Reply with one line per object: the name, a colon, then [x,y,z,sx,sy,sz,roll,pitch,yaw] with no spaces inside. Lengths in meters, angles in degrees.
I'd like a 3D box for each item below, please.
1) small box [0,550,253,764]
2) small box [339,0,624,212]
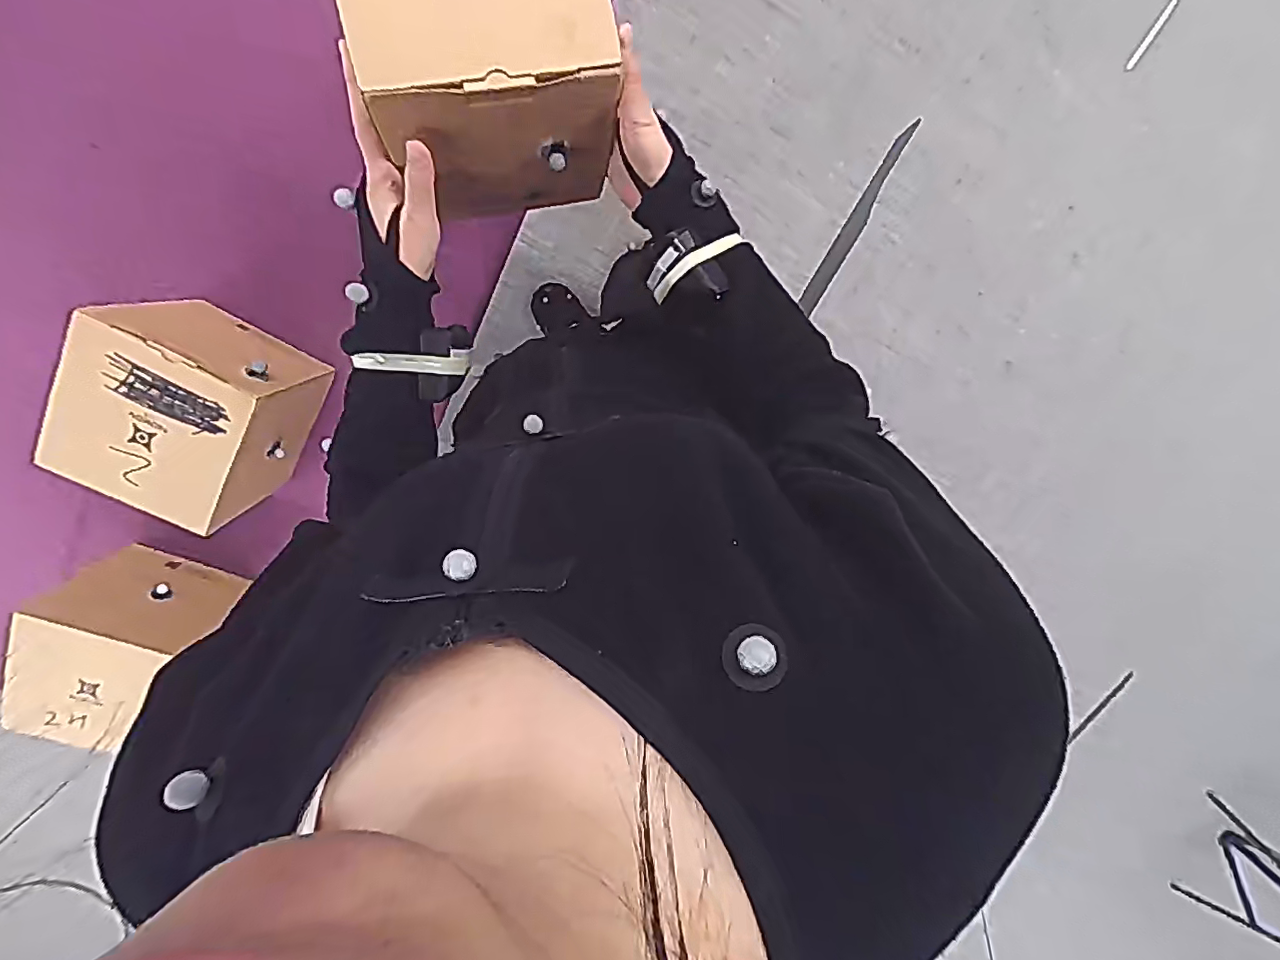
small box: [-0.642,0.217,0.696,0.168,0.176,0.179,23,107,-11]
small box: [-0.118,-0.326,0.407,0.168,0.176,0.179,-14,91,-10]
